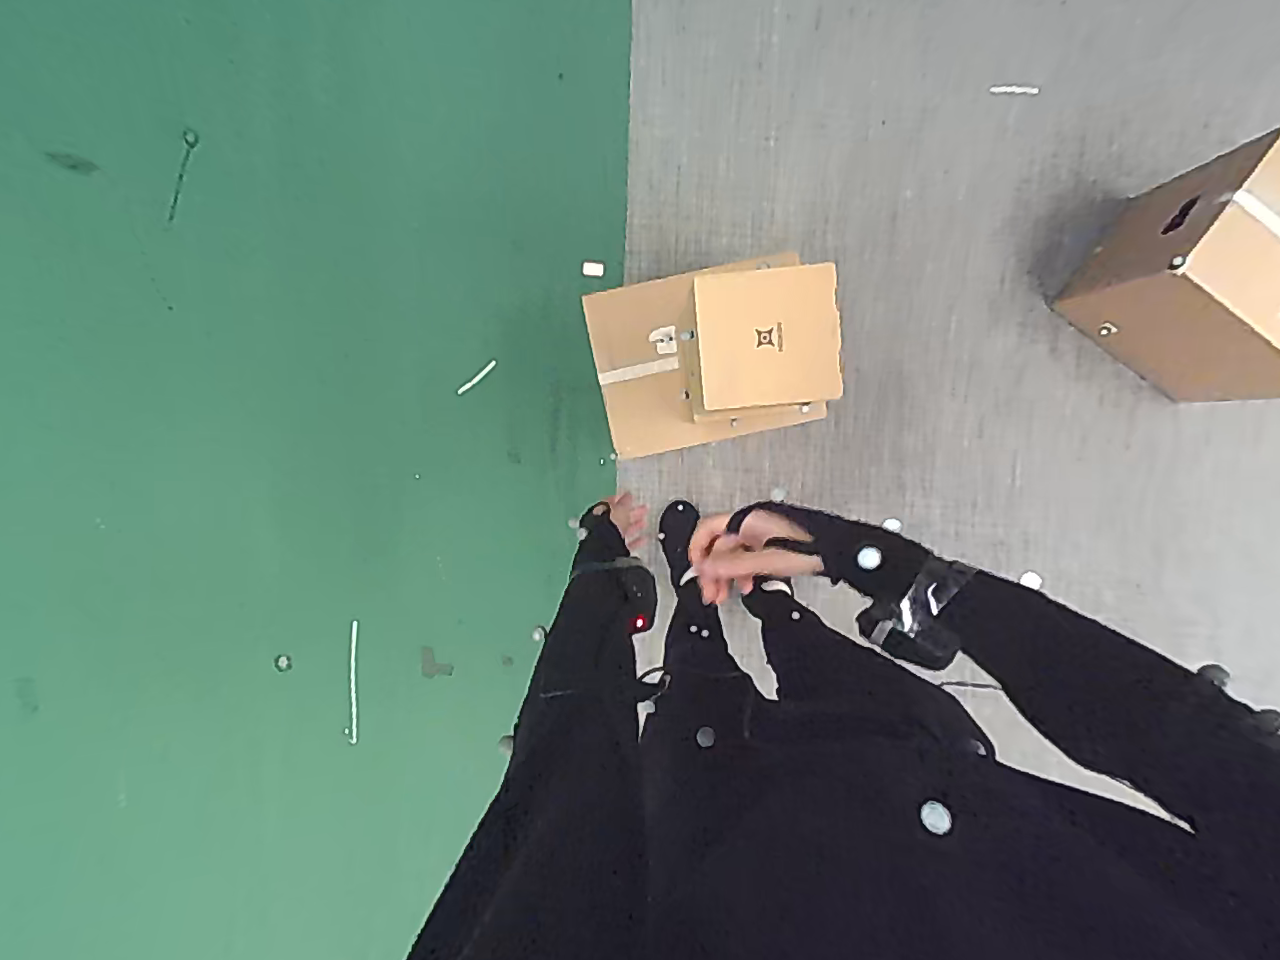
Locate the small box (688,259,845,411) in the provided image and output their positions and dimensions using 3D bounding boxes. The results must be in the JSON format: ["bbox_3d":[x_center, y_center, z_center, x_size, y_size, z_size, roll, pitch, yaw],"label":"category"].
[{"bbox_3d":[0.160,-0.186,0.738,0.179,0.176,0.168,-5,95,0],"label":"small box"}]

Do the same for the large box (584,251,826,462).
[{"bbox_3d":[0.124,-0.239,1.144,0.408,0.320,0.320,-12,94,2],"label":"large box"}]

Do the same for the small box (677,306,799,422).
[{"bbox_3d":[0.156,-0.193,0.900,0.168,0.176,0.179,-7,95,0],"label":"small box"}]
